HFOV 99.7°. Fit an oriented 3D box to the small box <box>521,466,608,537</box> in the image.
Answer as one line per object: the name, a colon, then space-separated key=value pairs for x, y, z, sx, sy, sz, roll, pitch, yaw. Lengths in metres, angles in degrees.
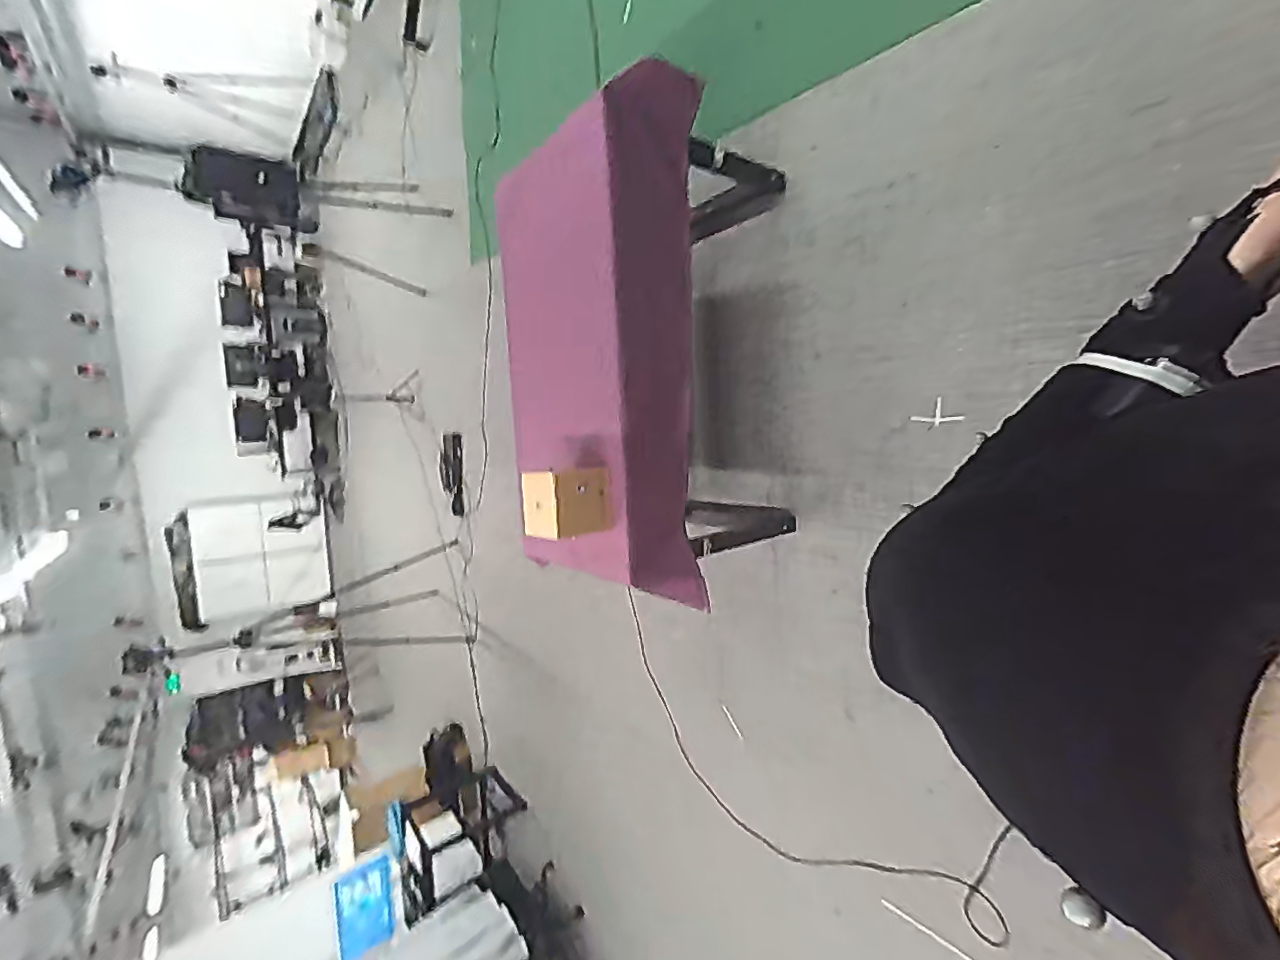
small box: x=-0.195 y=0.050 z=1.426 sx=0.179 sy=0.176 sz=0.168 roll=1 pitch=96 yaw=52
